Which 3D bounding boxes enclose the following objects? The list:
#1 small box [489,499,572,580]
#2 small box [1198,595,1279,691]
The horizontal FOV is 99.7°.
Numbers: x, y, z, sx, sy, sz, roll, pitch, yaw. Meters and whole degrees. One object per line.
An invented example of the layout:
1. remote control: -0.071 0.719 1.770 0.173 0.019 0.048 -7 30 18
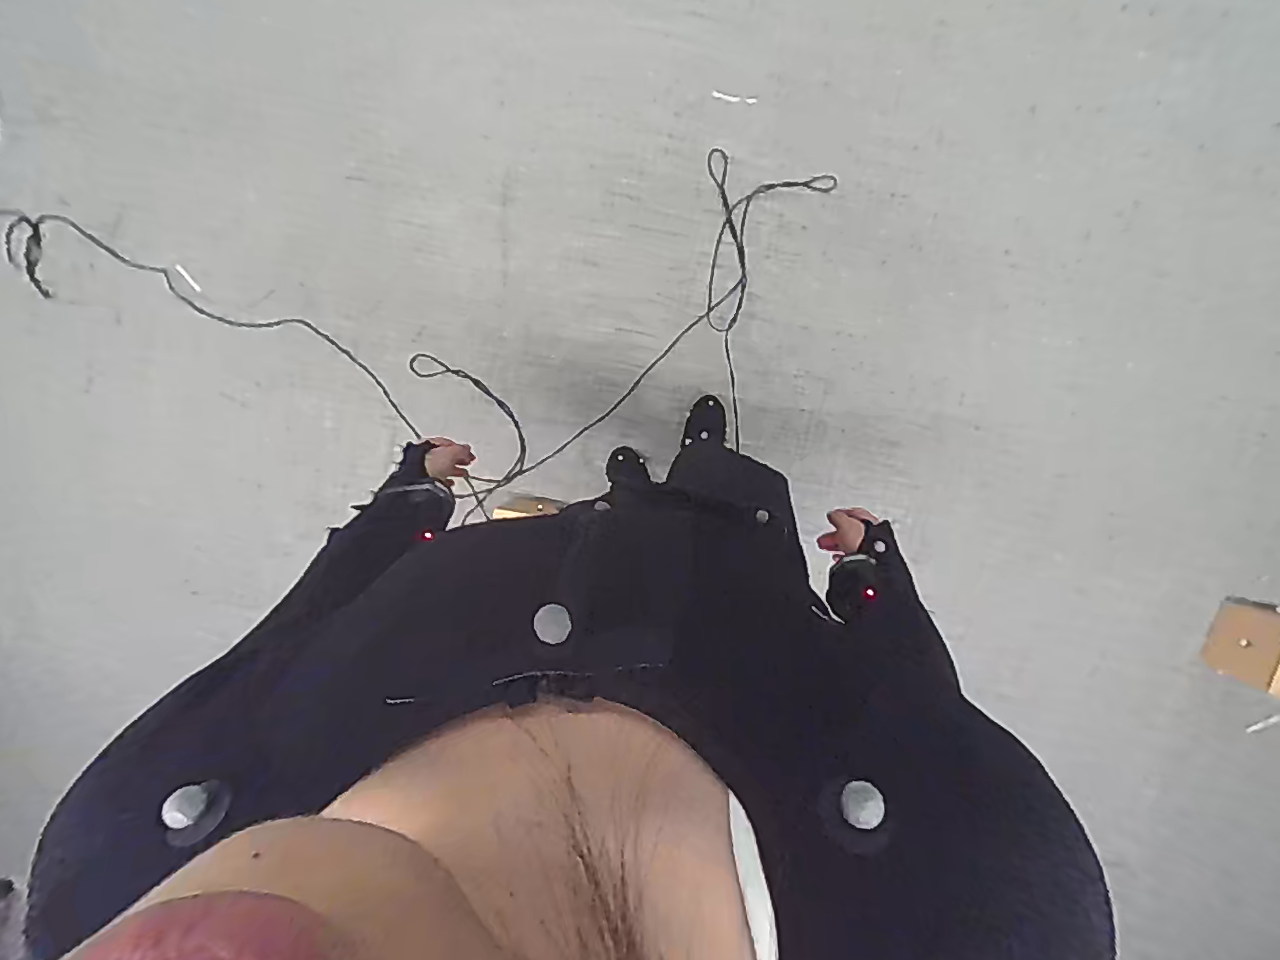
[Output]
1. small box: -0.287 0.154 1.448 0.179 0.176 0.168 8 99 2
2. small box: 1.569 0.412 1.348 0.168 0.176 0.179 12 99 3
